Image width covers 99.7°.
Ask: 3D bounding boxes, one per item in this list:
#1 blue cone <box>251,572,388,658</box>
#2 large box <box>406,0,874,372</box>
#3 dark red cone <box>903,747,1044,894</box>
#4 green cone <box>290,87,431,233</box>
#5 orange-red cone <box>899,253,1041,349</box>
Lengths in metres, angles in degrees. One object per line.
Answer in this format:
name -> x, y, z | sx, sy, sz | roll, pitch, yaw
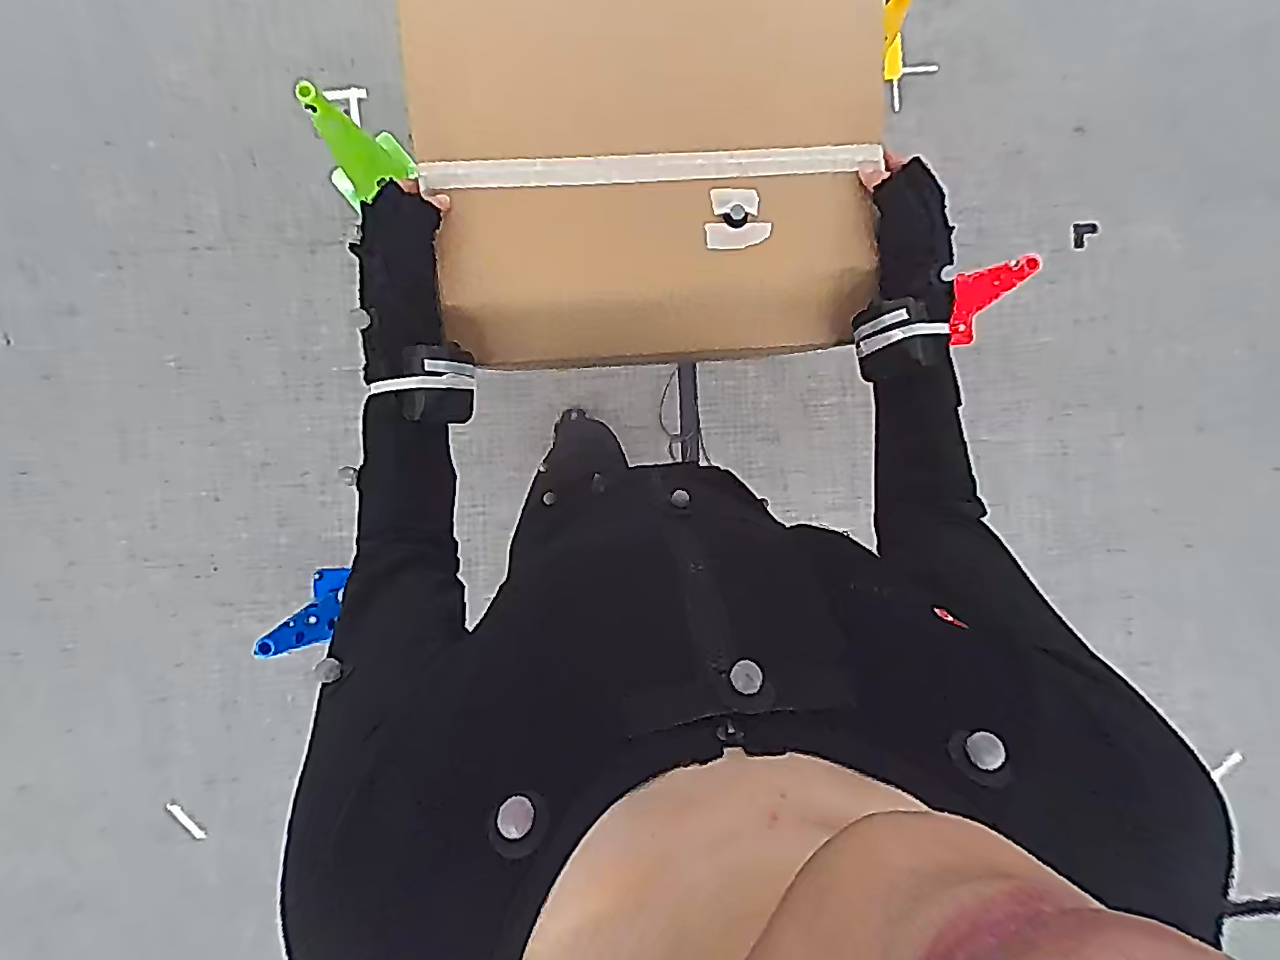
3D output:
blue cone -> -0.774, 0.346, 1.297 | 0.192, 0.380, 0.193 | 0, 91, -1
large box -> 0.000, -0.300, 0.625 | 0.408, 0.320, 0.320 | -4, 100, -4
dark red cone -> 0.822, 0.836, 1.317 | 0.201, 0.394, 0.202 | 3, 91, -1
green cone -> -0.683, -0.781, 1.262 | 0.202, 0.368, 0.200 | -41, 91, 1
orange-red cone -> 0.821, -0.464, 1.317 | 0.198, 0.360, 0.199 | -6, 90, -3
